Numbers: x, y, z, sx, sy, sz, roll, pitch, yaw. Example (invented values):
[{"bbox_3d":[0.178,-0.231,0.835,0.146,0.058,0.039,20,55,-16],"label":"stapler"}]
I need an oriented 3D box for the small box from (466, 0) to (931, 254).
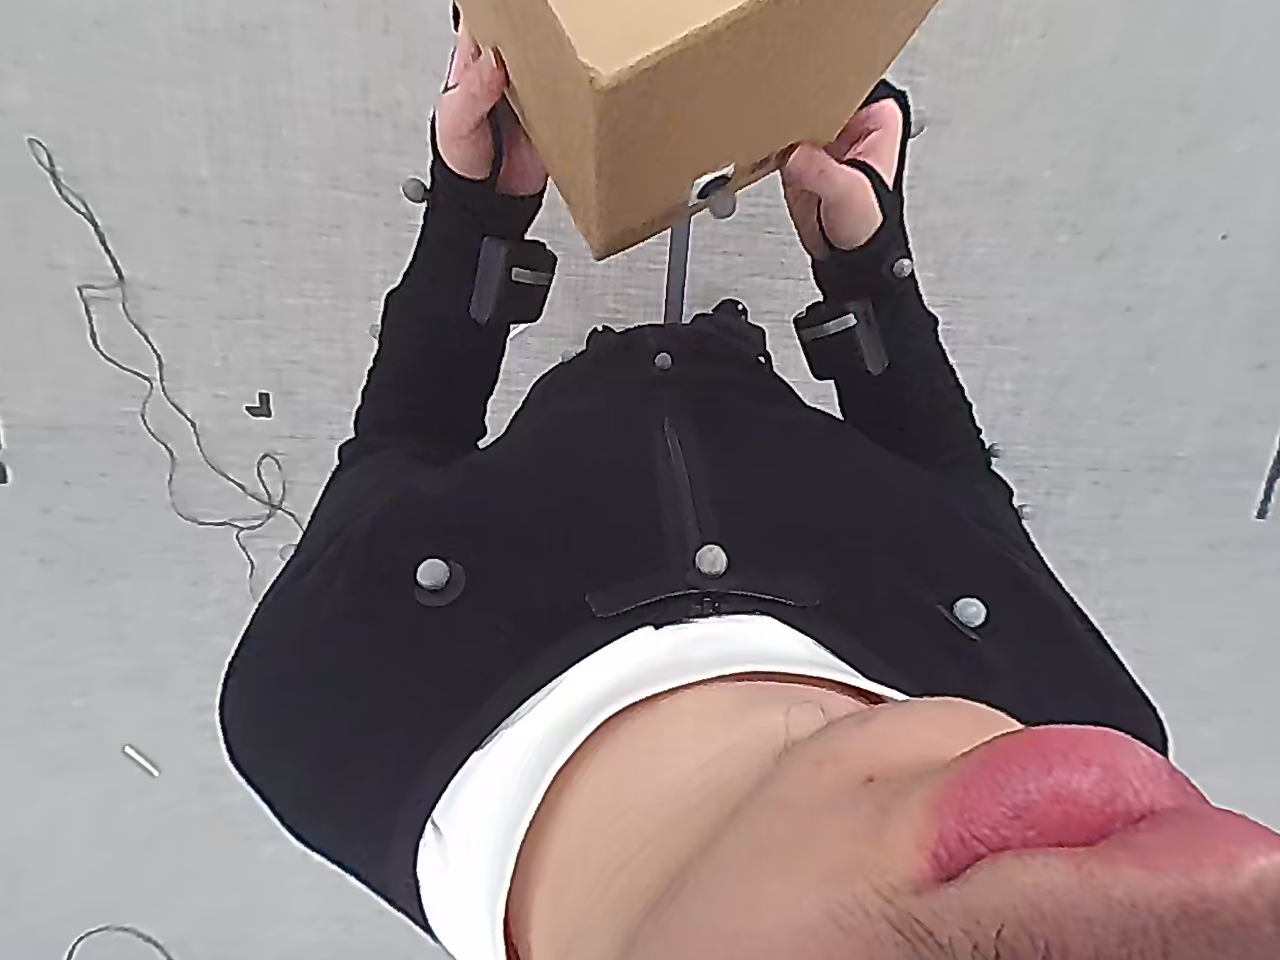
[{"bbox_3d":[0.012,-0.241,0.247,0.168,0.176,0.179,-31,95,0],"label":"small box"}]
